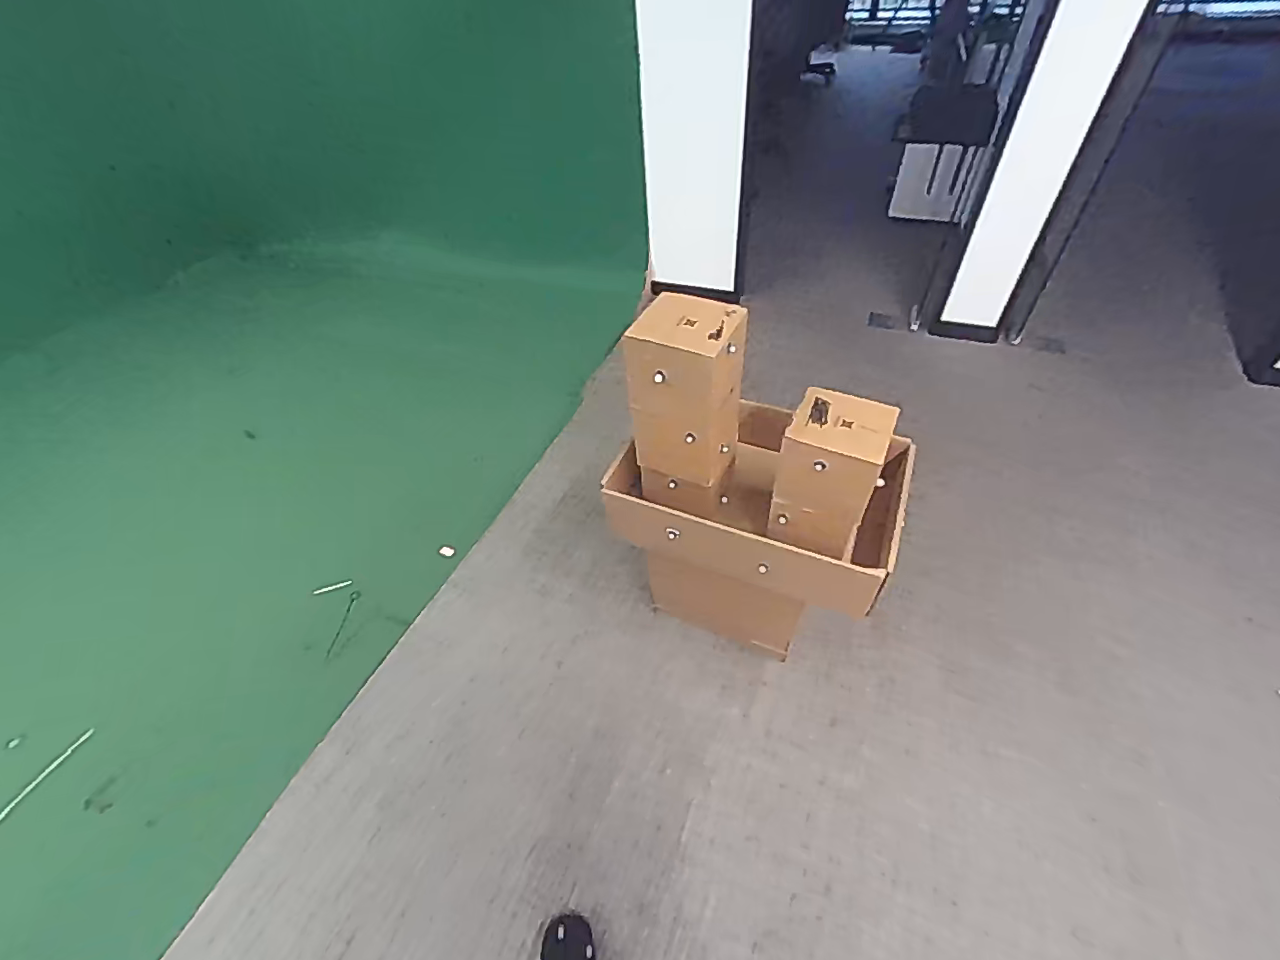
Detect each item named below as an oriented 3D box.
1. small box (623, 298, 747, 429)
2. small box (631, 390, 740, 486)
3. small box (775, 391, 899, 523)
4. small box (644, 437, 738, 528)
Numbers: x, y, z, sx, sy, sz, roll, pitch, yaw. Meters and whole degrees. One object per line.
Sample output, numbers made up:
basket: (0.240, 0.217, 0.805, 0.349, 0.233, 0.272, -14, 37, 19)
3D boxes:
small box: (0.087, -0.219, 1.025, 0.179, 0.176, 0.168, 19, 52, 21)
small box: (0.098, -0.111, 1.149, 0.179, 0.176, 0.168, 19, 52, 20)
small box: (0.376, -0.043, 1.053, 0.179, 0.176, 0.168, 19, 52, 21)
small box: (0.118, -0.011, 1.277, 0.179, 0.176, 0.168, 18, 52, 20)
